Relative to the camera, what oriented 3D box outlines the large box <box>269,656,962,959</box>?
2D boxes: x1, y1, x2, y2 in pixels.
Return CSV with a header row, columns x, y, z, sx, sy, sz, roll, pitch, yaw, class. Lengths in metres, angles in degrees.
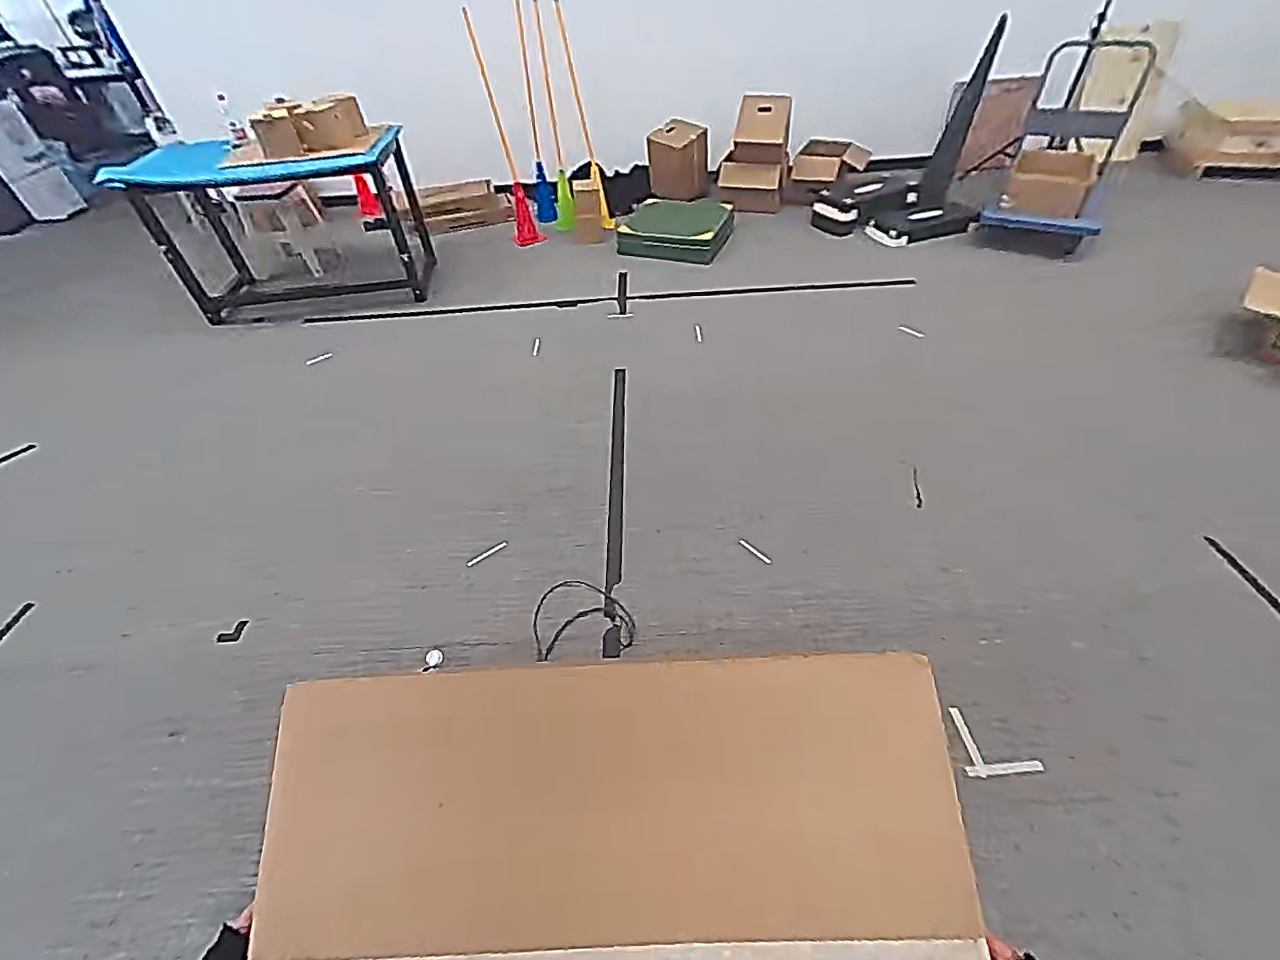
x,y,z,sx,sy,sz,roll,pitch,yaw,class
-0.013,0.319,0.446,0.408,0.320,0.320,-4,73,2,large box
